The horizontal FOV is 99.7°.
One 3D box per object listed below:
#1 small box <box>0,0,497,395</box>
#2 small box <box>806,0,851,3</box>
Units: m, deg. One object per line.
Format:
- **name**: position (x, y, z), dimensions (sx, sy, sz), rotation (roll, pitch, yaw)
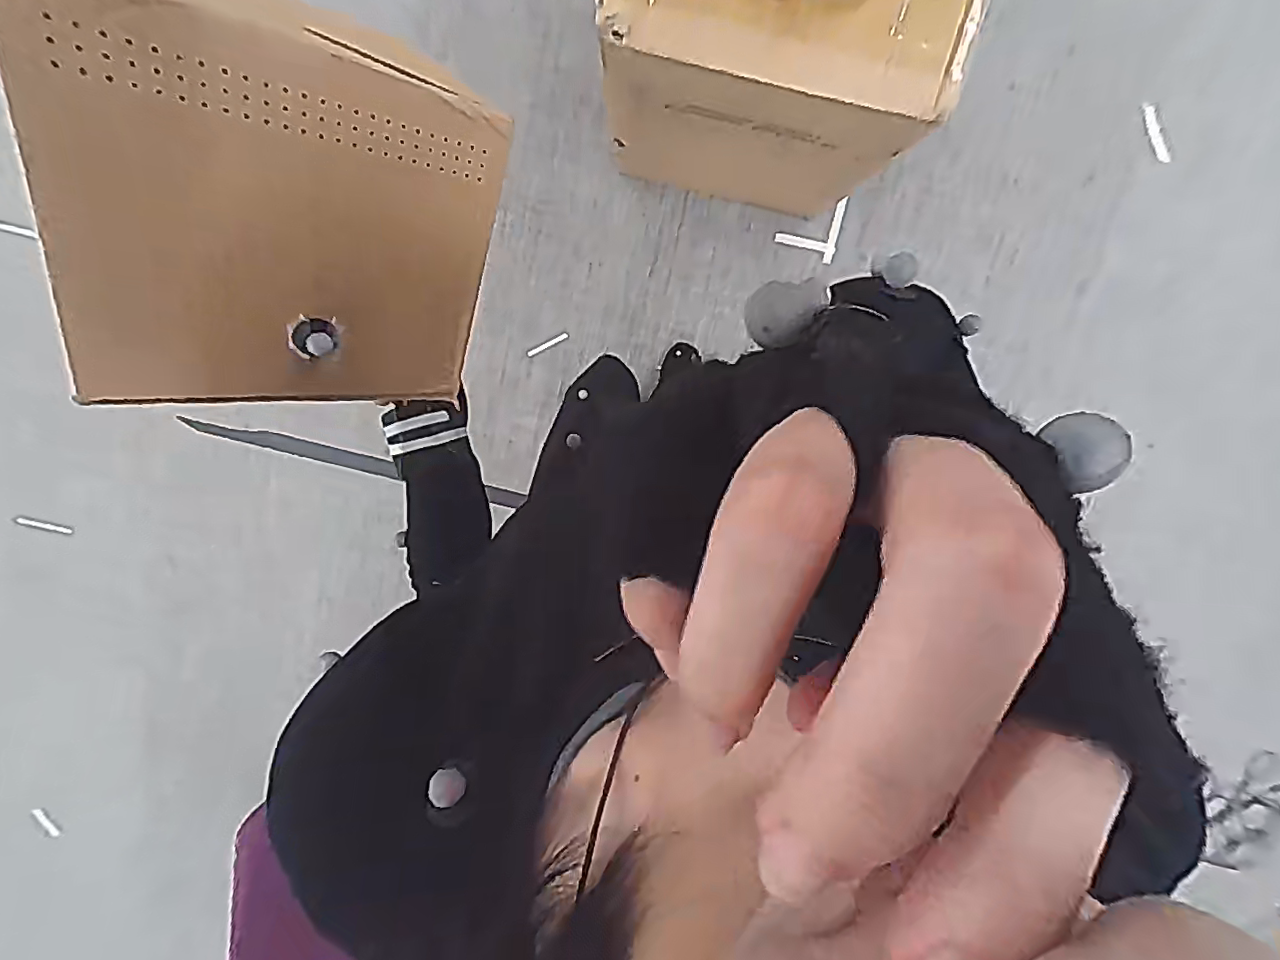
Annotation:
- **small box**: position (-0.199, -0.163, 0.293), dimensions (0.179, 0.168, 0.176), rotation (-7, 133, -41)
- **small box**: position (0.227, -0.706, 0.633), dimensions (0.179, 0.176, 0.168), rotation (5, 104, -1)
